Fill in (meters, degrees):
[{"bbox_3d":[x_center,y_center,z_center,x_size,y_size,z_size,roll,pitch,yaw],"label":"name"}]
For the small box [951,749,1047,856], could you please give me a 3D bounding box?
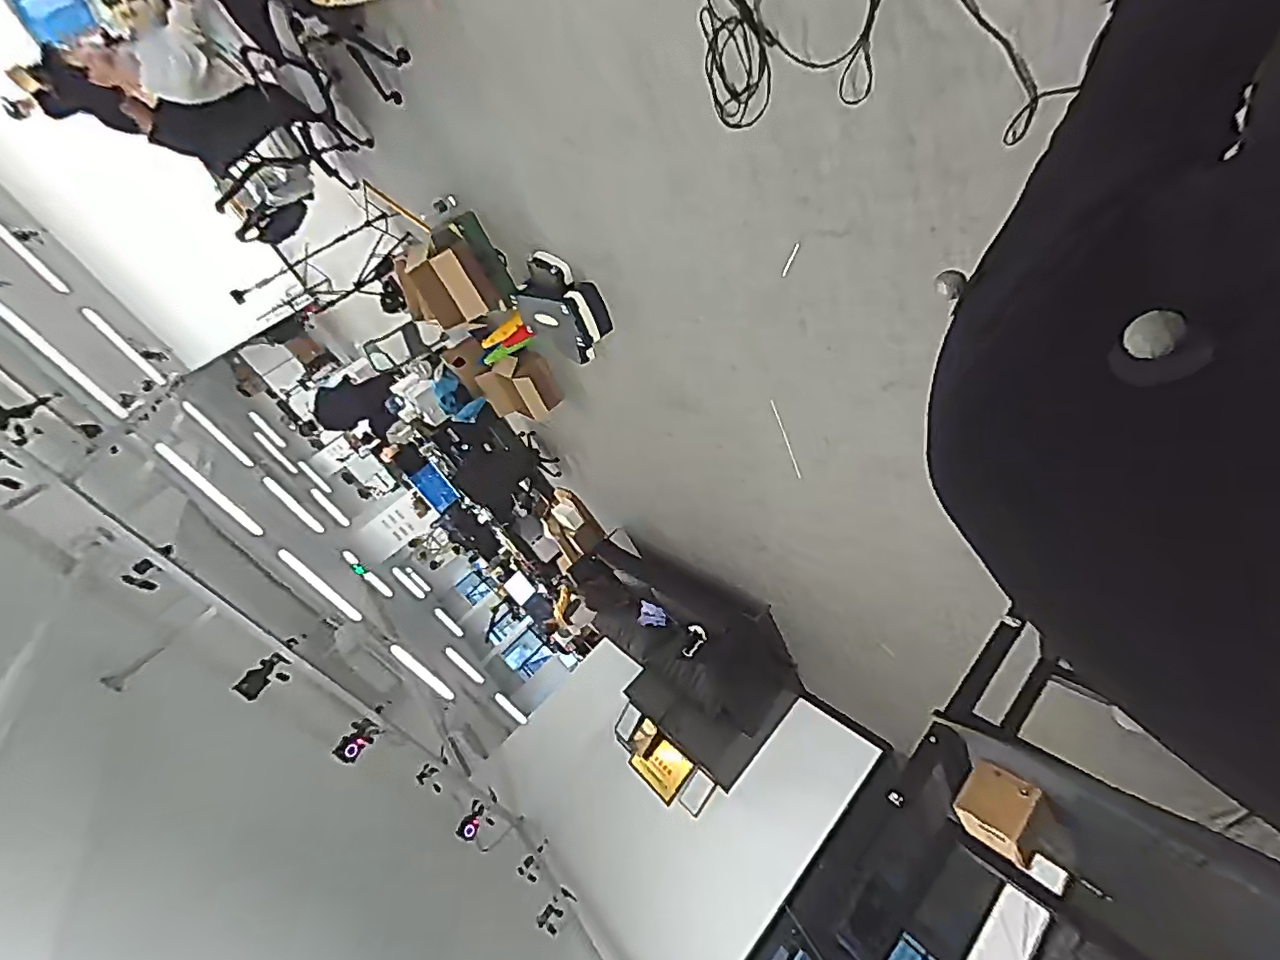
[{"bbox_3d":[1.040,0.924,1.564,0.168,0.176,0.179,15,144,57],"label":"small box"}]
